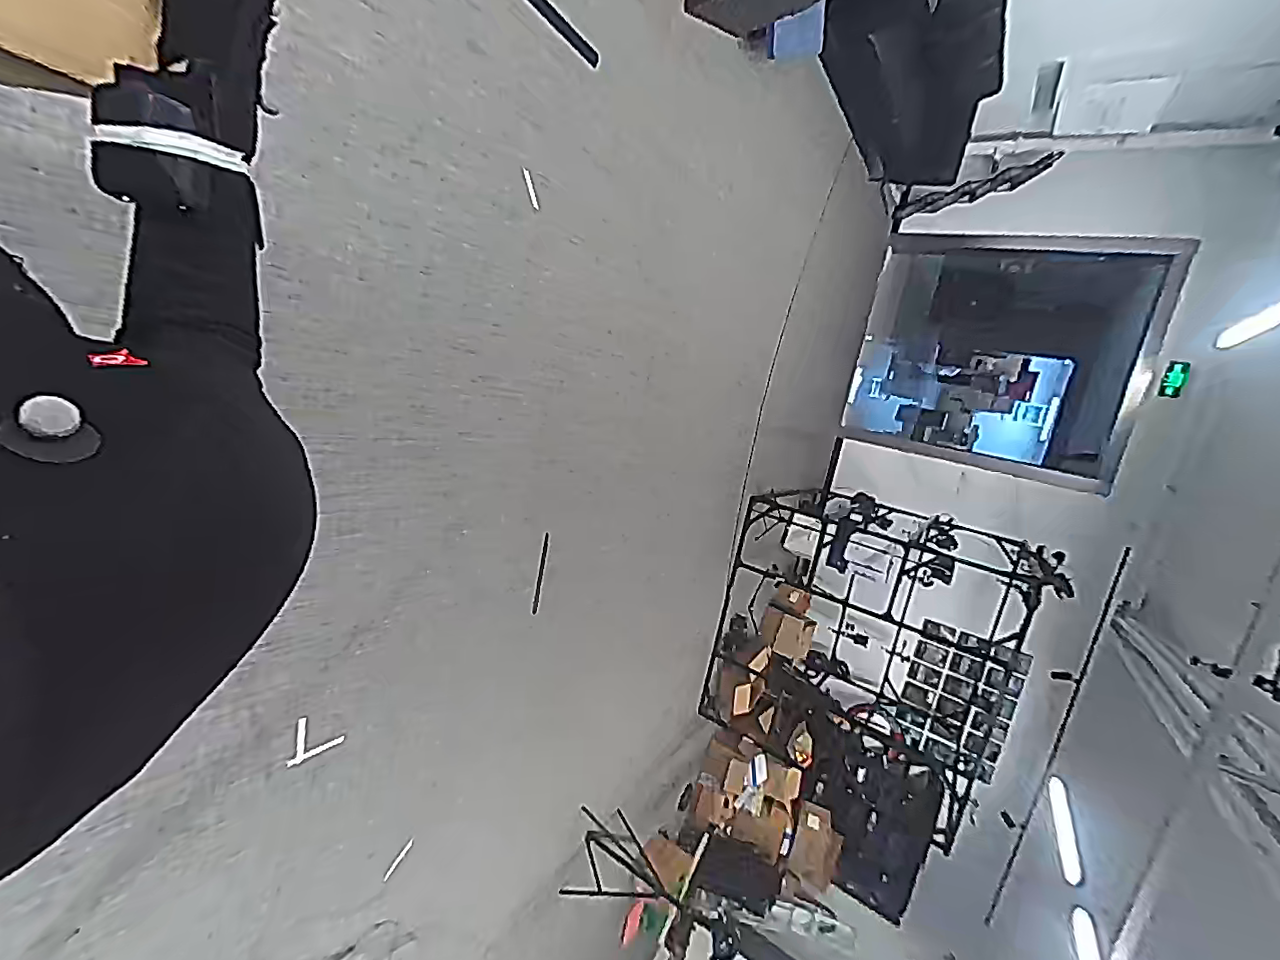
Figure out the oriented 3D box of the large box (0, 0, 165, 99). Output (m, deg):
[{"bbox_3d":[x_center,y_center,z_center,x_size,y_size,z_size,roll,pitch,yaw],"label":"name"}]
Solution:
[{"bbox_3d":[-0.507,-0.439,0.227,0.408,0.320,0.320,-8,120,-61],"label":"large box"}]
